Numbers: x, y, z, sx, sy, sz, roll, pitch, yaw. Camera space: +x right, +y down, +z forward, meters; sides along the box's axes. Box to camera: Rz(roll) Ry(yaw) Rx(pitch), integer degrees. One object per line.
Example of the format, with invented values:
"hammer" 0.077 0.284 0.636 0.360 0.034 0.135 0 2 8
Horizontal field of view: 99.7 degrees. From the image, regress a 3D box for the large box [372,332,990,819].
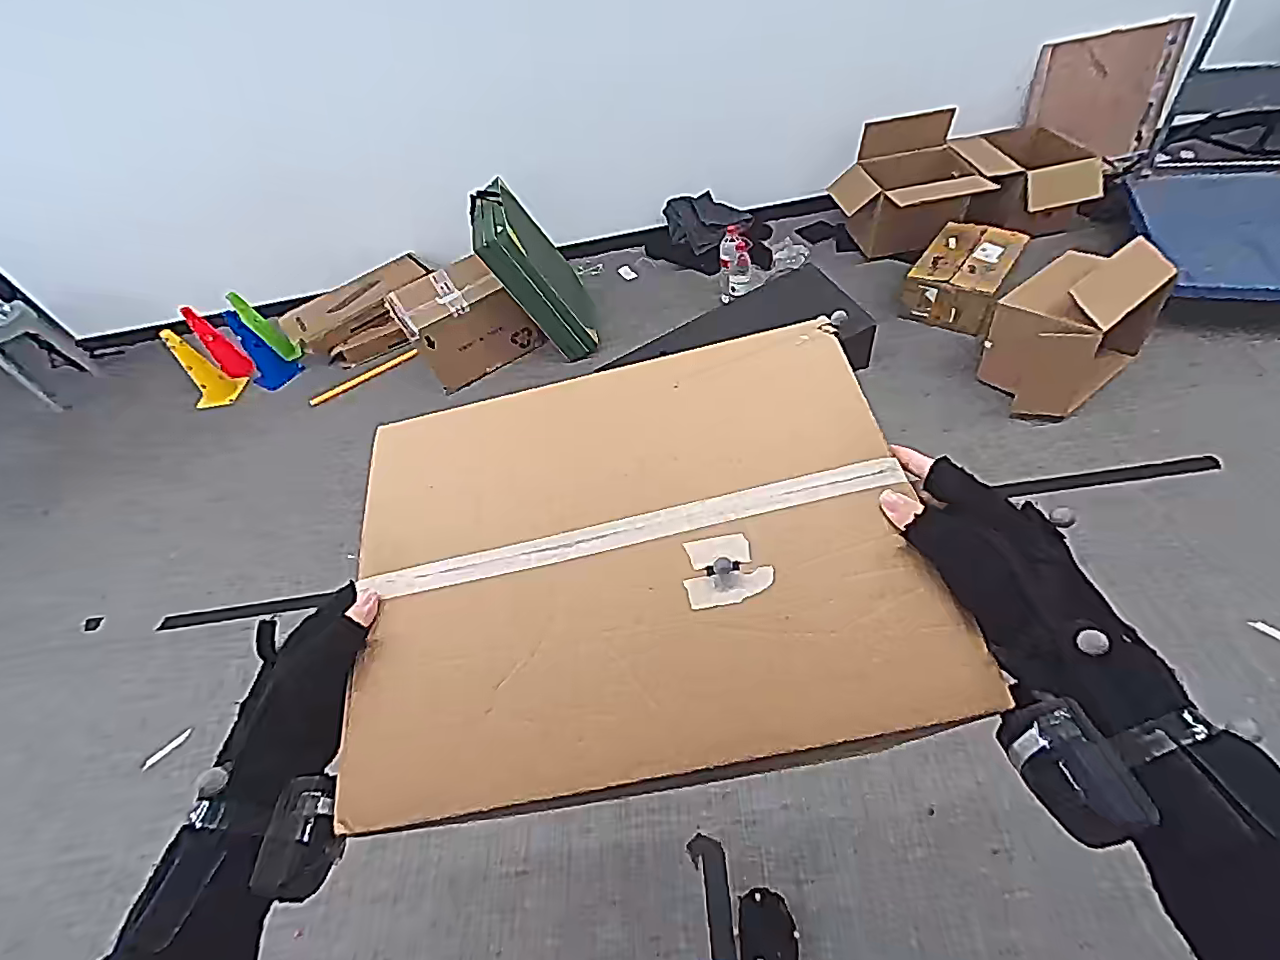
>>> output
"large box" 0.018 0.115 0.536 0.408 0.320 0.320 -13 60 3
